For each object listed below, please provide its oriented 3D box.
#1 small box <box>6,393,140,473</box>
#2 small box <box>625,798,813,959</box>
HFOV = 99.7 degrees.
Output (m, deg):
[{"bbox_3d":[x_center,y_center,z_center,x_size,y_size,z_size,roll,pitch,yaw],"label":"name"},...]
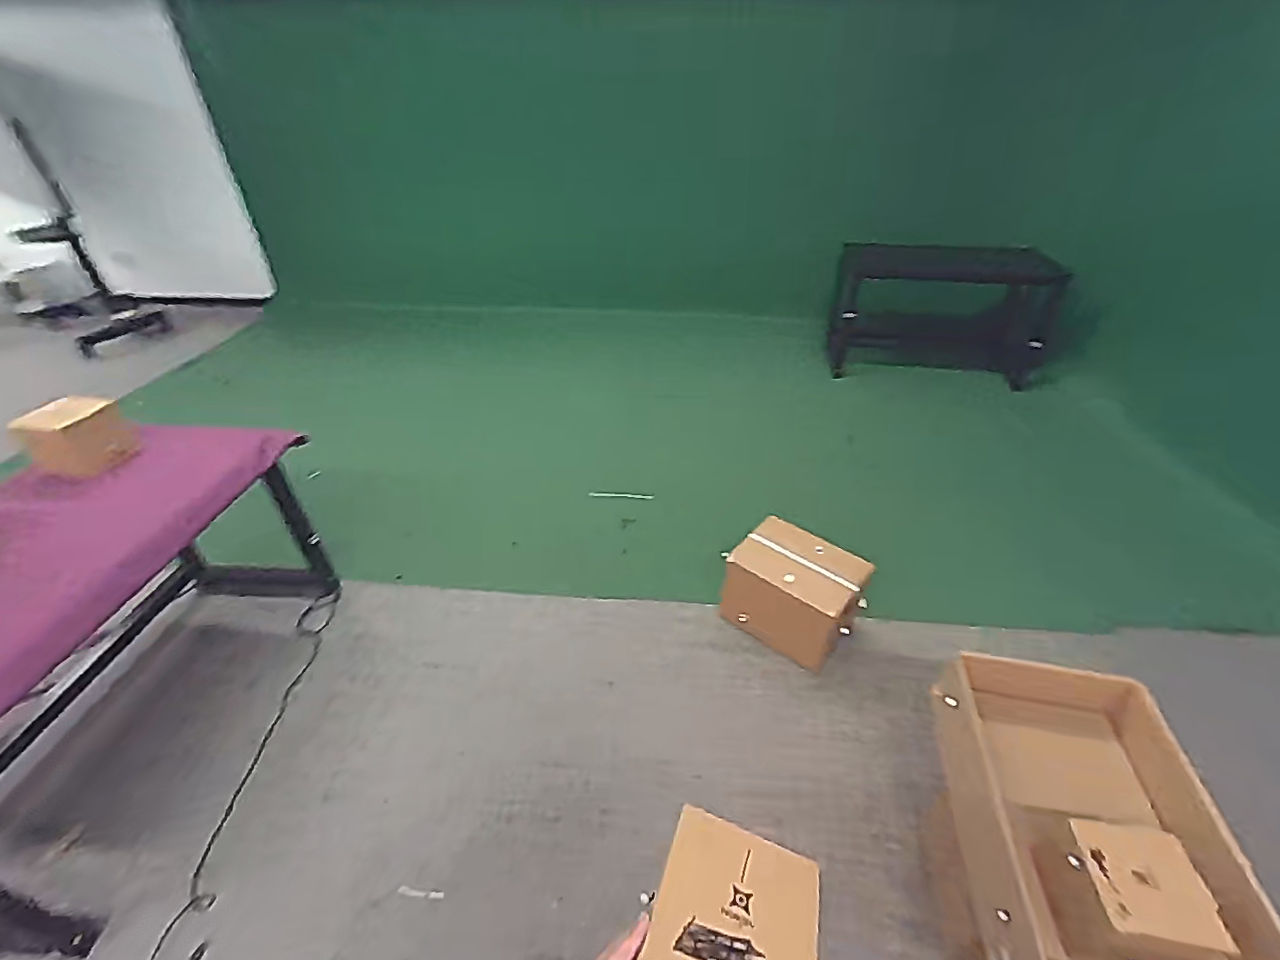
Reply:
[{"bbox_3d":[-1.649,-0.137,1.584,0.179,0.176,0.168,7,39,8],"label":"small box"},{"bbox_3d":[0.080,0.510,0.594,0.168,0.176,0.179,18,24,12],"label":"small box"}]
